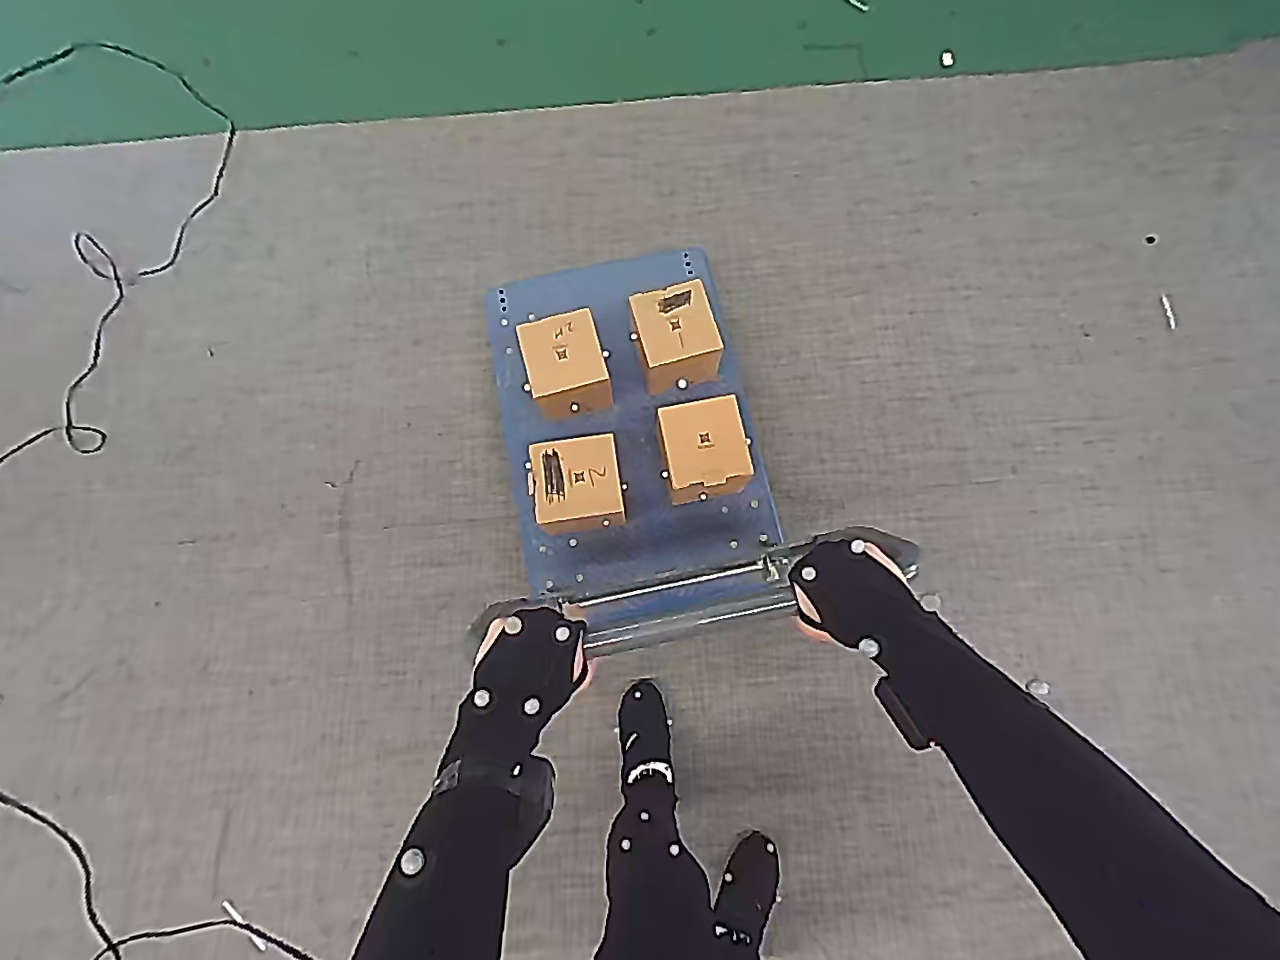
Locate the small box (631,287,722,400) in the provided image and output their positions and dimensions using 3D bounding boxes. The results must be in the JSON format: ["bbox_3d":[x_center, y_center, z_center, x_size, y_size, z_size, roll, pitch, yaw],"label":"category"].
[{"bbox_3d":[0.079,-0.311,1.258,0.168,0.176,0.179,-15,77,-2],"label":"small box"}]

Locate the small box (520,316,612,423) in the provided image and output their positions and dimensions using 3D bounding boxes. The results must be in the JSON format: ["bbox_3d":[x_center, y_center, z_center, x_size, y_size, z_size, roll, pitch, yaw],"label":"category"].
[{"bbox_3d":[-0.164,-0.243,1.246,0.168,0.176,0.179,-15,76,-4],"label":"small box"}]

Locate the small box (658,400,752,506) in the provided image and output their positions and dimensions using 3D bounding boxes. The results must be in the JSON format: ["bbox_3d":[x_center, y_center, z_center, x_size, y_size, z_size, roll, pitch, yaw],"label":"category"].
[{"bbox_3d":[0.135,-0.054,1.196,0.168,0.176,0.179,-11,77,-2],"label":"small box"}]
